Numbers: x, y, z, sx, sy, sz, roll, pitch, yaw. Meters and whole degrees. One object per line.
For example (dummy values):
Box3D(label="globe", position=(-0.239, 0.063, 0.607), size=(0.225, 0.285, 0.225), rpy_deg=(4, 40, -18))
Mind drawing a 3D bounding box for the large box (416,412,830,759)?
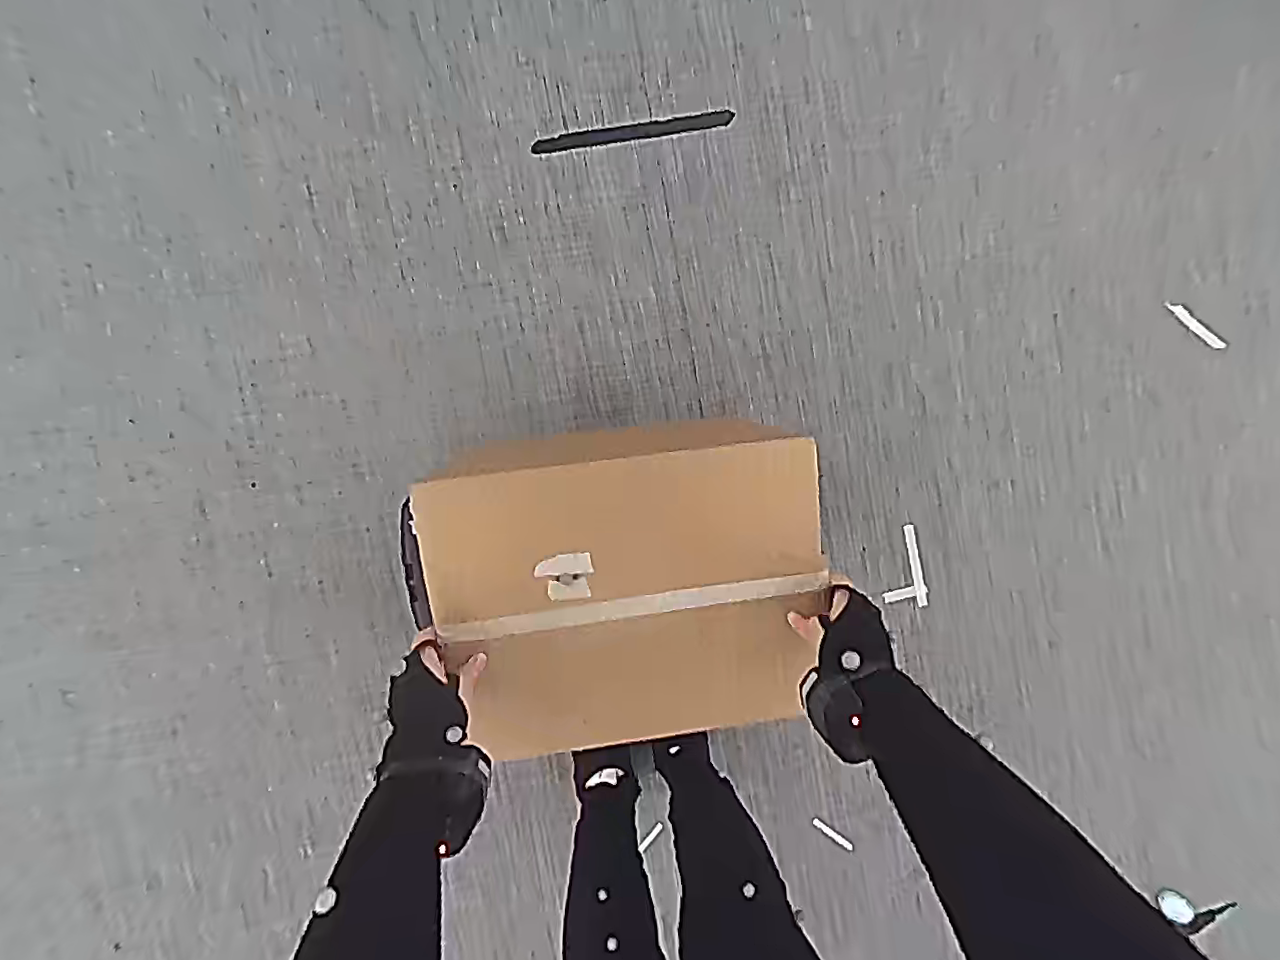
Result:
Box3D(label="large box", position=(-0.014, 0.096, 0.704), size=(0.408, 0.320, 0.320), rpy_deg=(-7, 99, -3))
